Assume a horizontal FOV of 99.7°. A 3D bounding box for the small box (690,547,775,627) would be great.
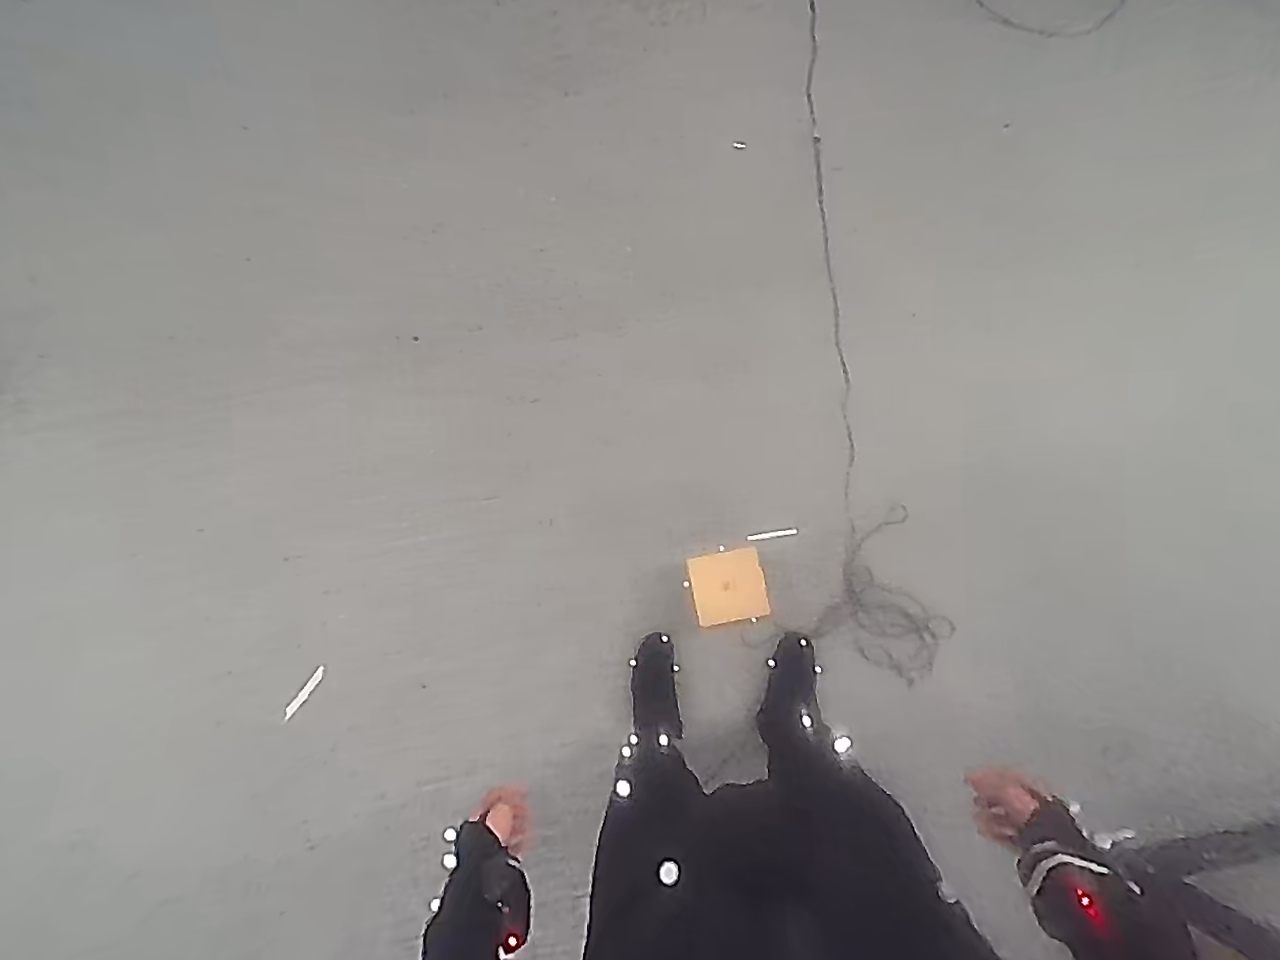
[{"bbox_3d":[0.225,0.272,1.369,0.179,0.176,0.168,-12,79,0],"label":"small box"}]
